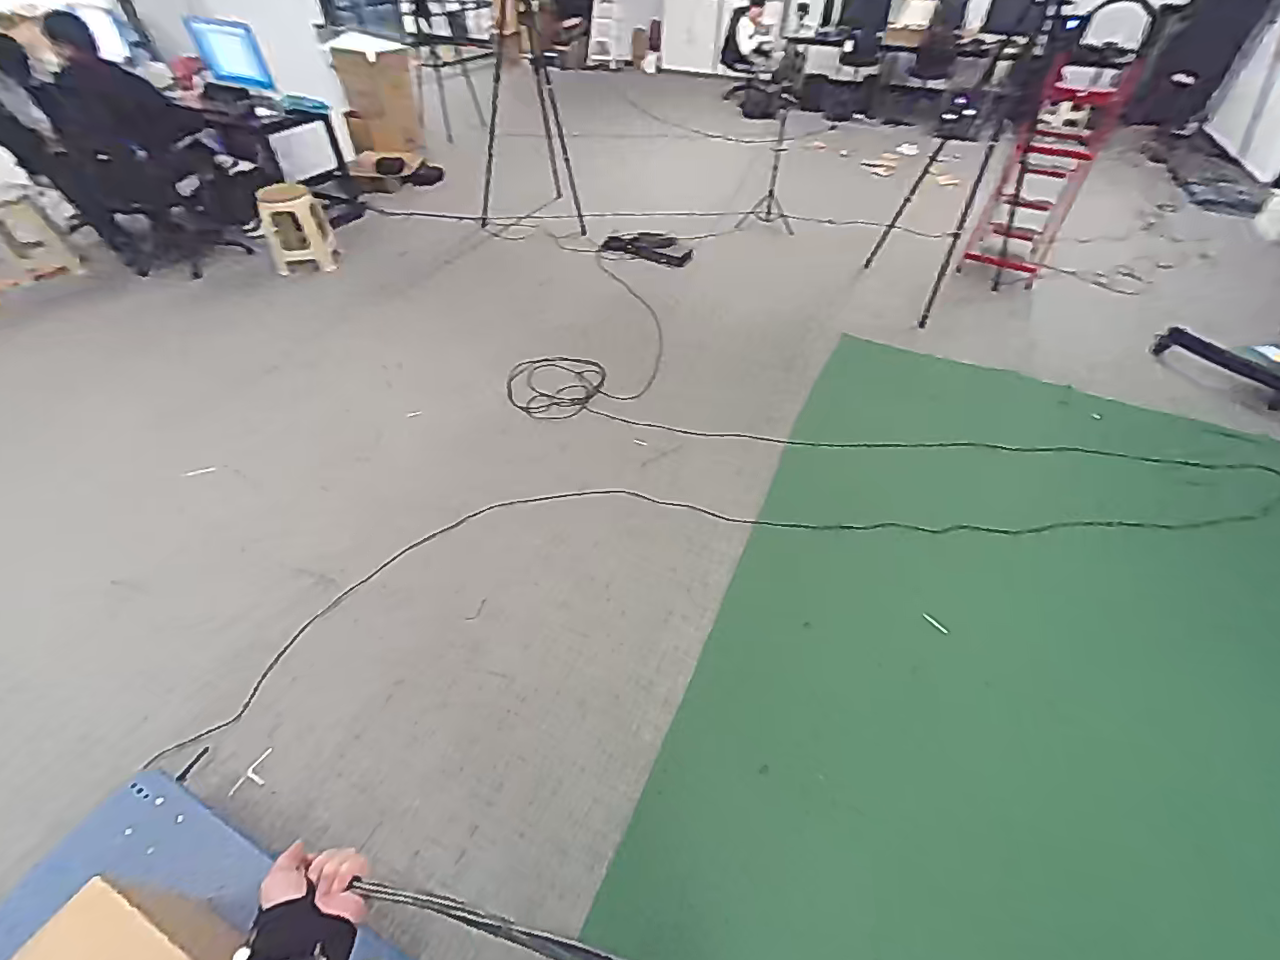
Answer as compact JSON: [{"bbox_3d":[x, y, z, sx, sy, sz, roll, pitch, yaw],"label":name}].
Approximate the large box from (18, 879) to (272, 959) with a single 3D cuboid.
[{"bbox_3d":[-0.816,0.945,0.881,0.408,0.320,0.320,19,48,18],"label":"large box"}]
